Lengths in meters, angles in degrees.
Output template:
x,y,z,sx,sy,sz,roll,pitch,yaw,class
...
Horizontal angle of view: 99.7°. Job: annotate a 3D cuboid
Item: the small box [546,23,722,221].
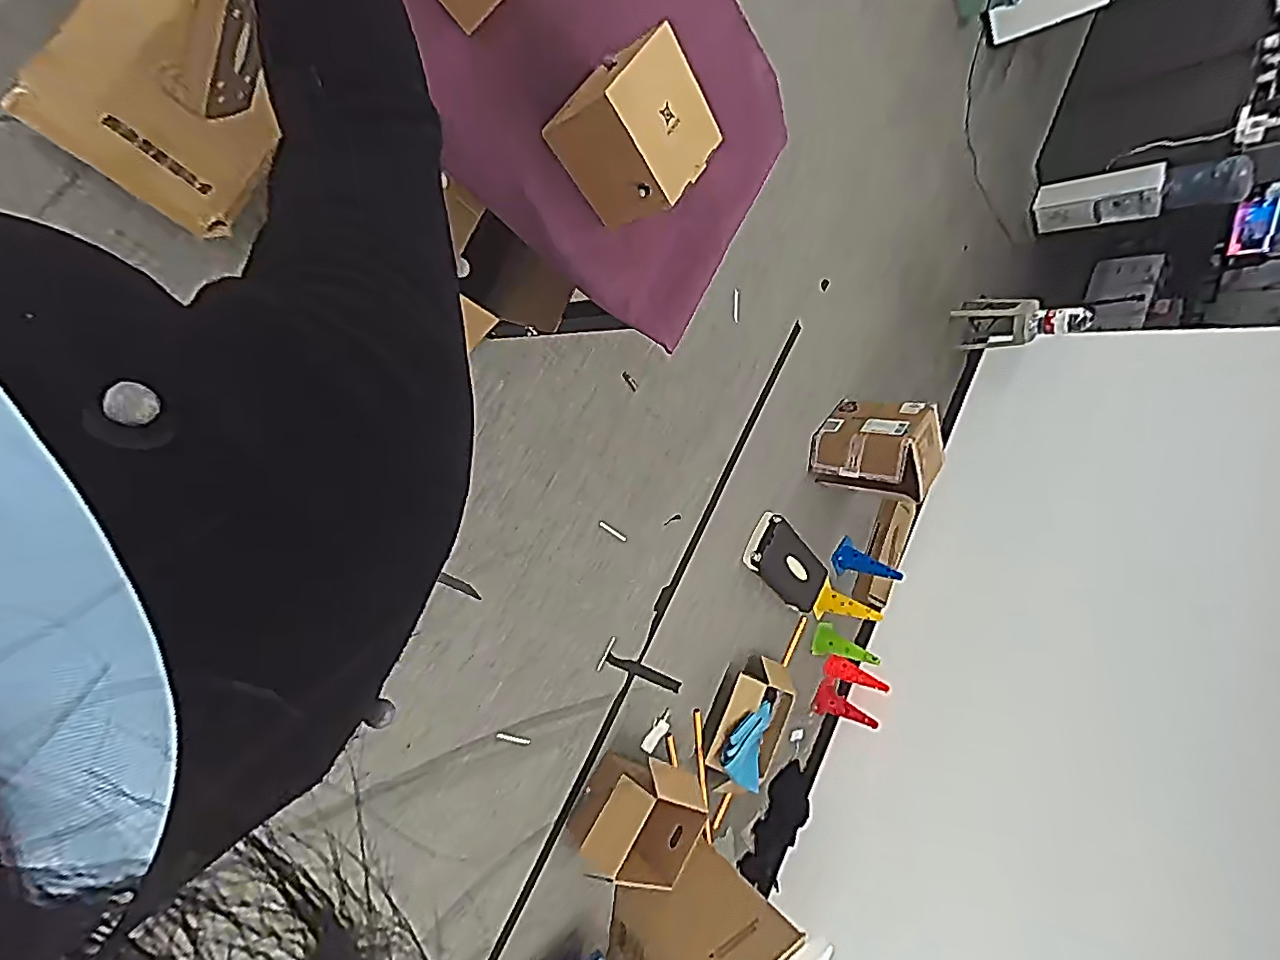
x,y,z,sx,sy,sz,roll,pitch,yaw,class
-0.011,-0.533,0.834,0.179,0.176,0.168,45,69,-39,small box
